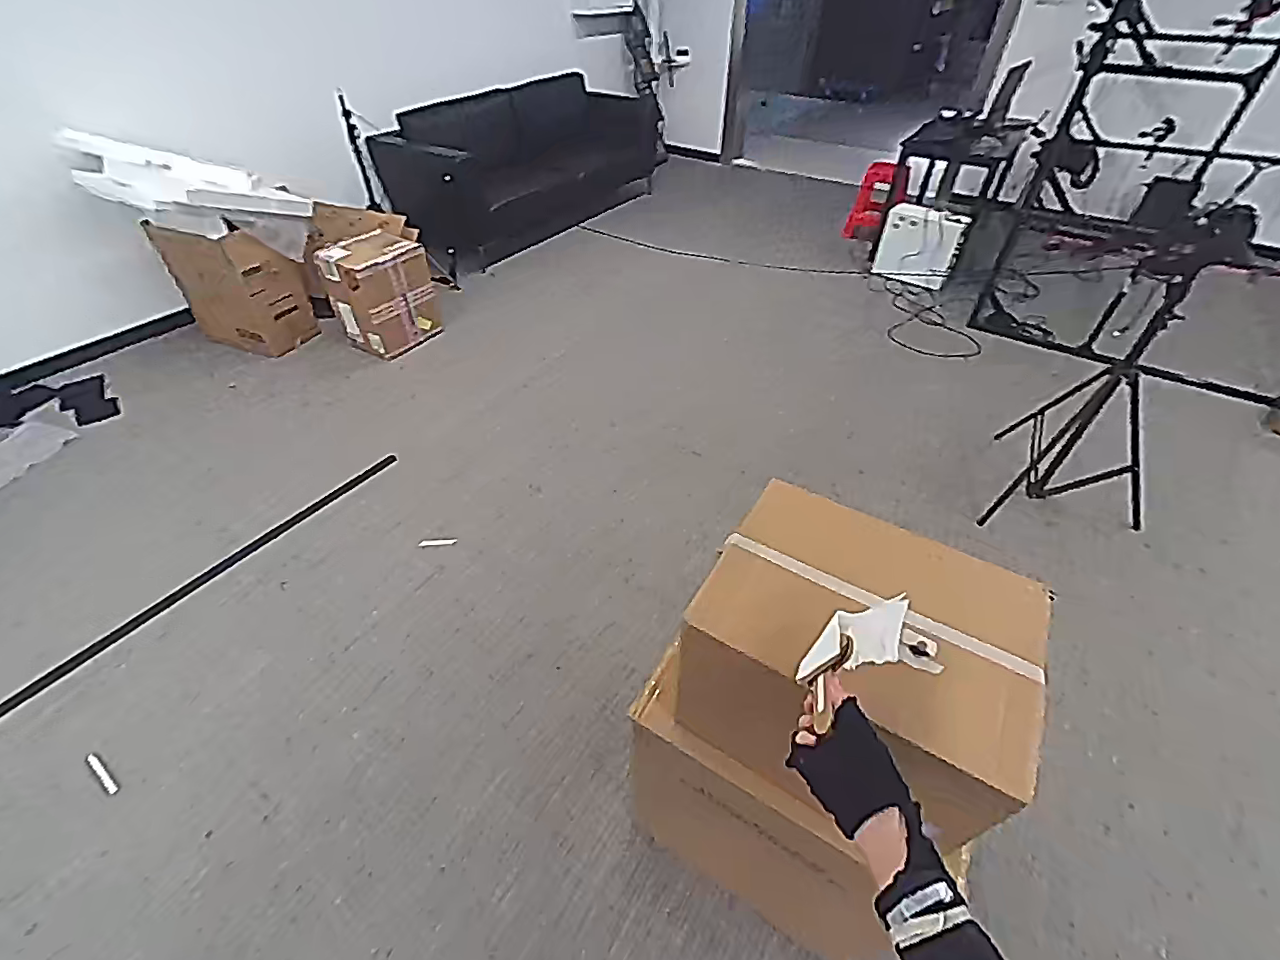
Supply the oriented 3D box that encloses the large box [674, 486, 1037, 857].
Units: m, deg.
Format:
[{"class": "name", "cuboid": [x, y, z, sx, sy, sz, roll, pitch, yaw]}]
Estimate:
[{"class": "large box", "cuboid": [0.304, 0.275, 0.834, 0.408, 0.320, 0.320, 24, 49, 22]}]
